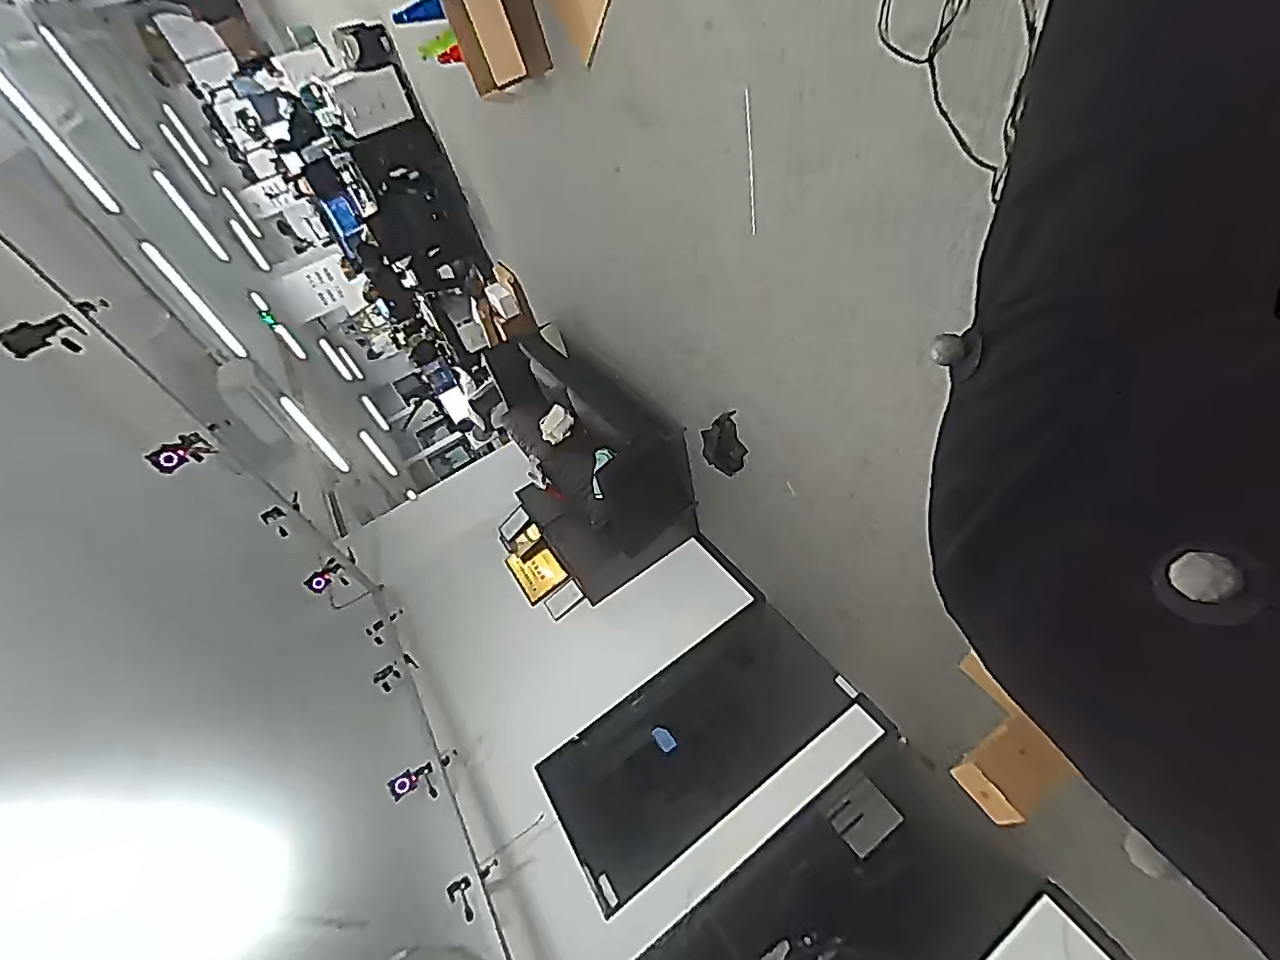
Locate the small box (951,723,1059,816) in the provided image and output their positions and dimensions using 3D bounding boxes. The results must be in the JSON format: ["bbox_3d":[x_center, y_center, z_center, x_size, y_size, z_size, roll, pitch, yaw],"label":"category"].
[{"bbox_3d":[1.042,0.824,1.545,0.168,0.176,0.179,51,166,33],"label":"small box"}]
